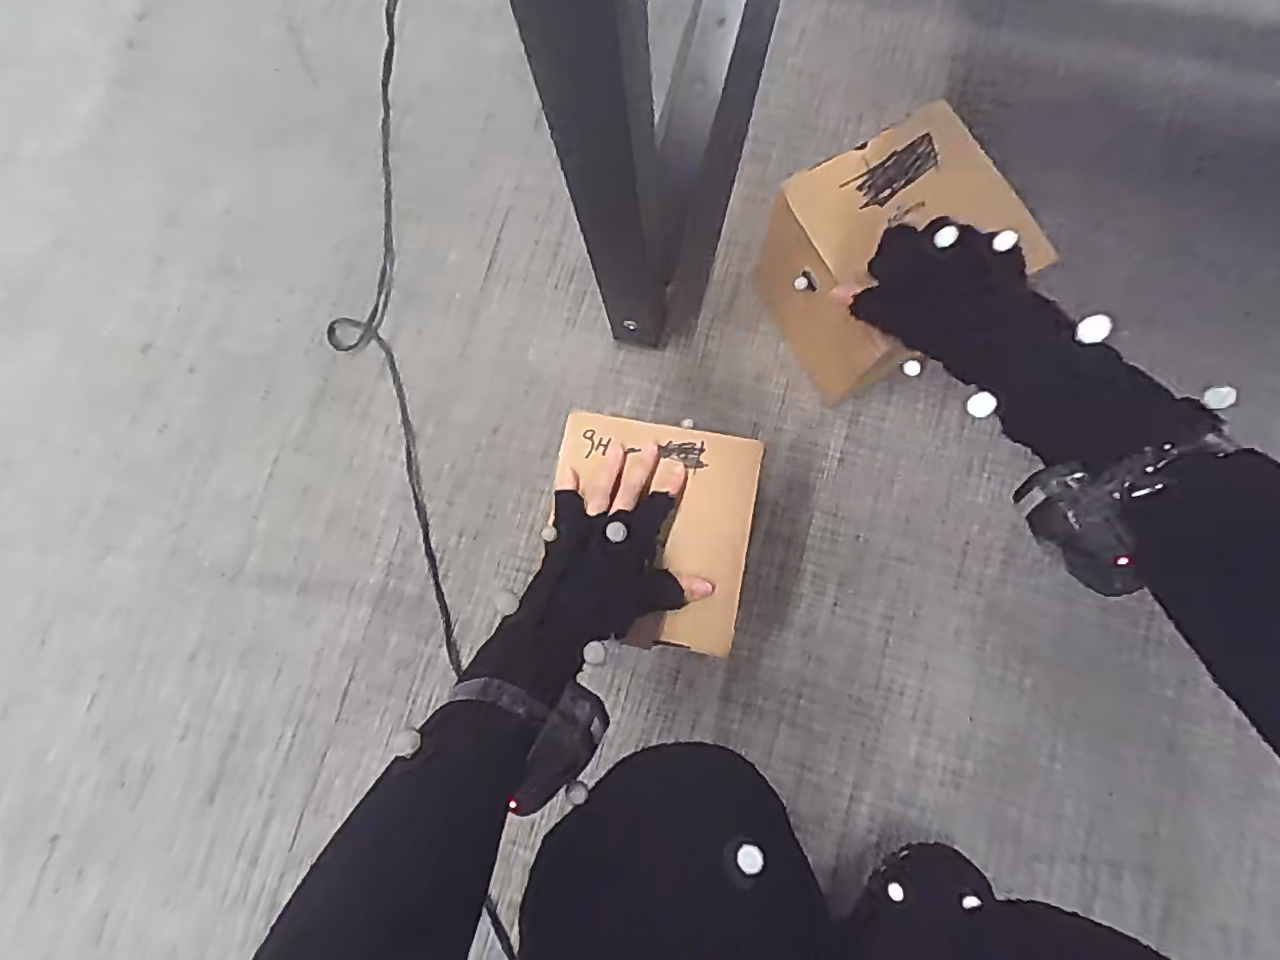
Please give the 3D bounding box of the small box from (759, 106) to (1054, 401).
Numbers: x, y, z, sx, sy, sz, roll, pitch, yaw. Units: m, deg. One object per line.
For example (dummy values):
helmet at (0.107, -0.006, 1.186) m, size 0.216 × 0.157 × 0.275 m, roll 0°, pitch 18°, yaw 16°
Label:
small box at (0.238, -0.206, 0.539) m, size 0.168 × 0.176 × 0.179 m, roll -29°, pitch 81°, yaw -1°
